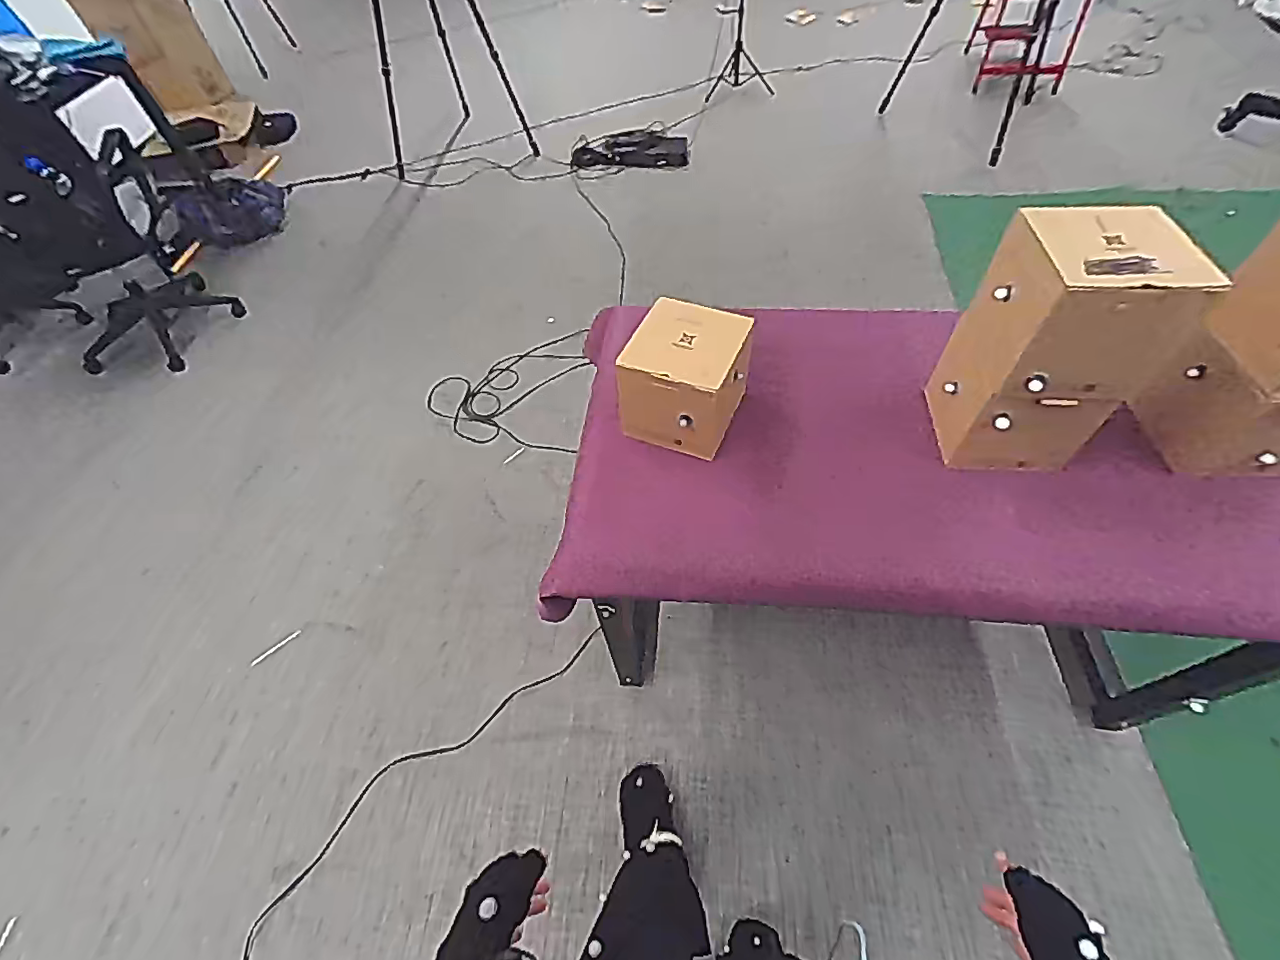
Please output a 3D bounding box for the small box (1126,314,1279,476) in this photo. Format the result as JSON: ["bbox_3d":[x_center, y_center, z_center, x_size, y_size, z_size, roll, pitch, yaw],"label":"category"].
[{"bbox_3d":[0.886,-0.125,0.798,0.168,0.176,0.179,0,55,5],"label":"small box"}]

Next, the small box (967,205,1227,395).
[{"bbox_3d":[0.555,-0.226,0.693,0.168,0.176,0.179,3,53,6],"label":"small box"}]

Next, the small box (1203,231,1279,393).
[{"bbox_3d":[0.879,-0.223,0.668,0.168,0.176,0.179,0,55,5],"label":"small box"}]

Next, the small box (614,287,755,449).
[{"bbox_3d":[0.075,-0.179,0.878,0.168,0.176,0.179,19,58,16],"label":"small box"}]
